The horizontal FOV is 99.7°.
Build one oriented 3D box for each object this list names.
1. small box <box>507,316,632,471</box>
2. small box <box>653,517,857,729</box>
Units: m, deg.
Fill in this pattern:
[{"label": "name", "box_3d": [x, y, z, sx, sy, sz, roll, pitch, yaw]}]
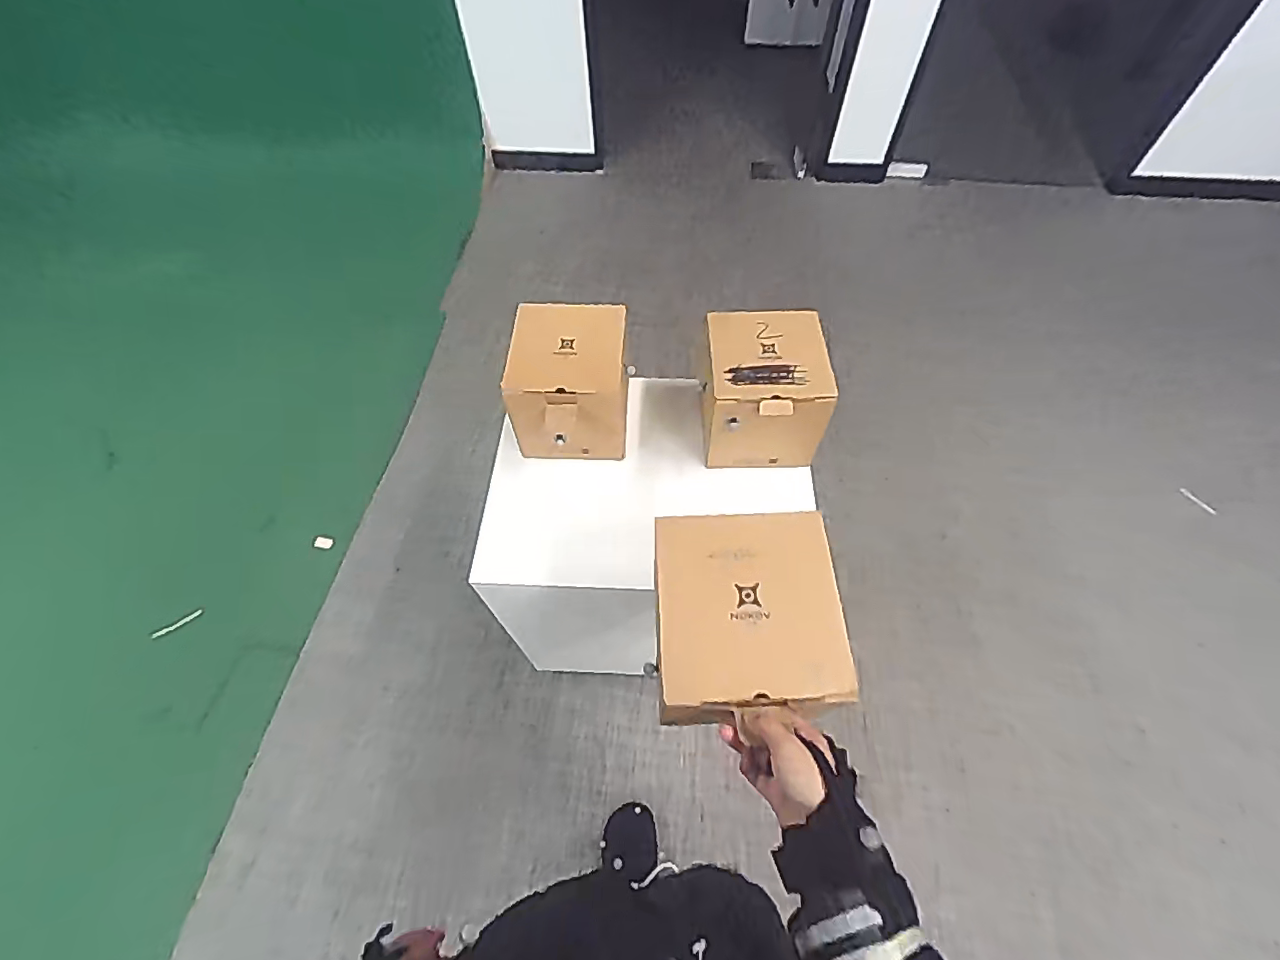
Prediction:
[{"label": "small box", "box_3d": [-0.099, -0.133, 0.851, 0.168, 0.176, 0.179, 1, 59, 1]}, {"label": "small box", "box_3d": [0.100, 0.155, 0.558, 0.168, 0.176, 0.179, -2, 59, 0]}]
